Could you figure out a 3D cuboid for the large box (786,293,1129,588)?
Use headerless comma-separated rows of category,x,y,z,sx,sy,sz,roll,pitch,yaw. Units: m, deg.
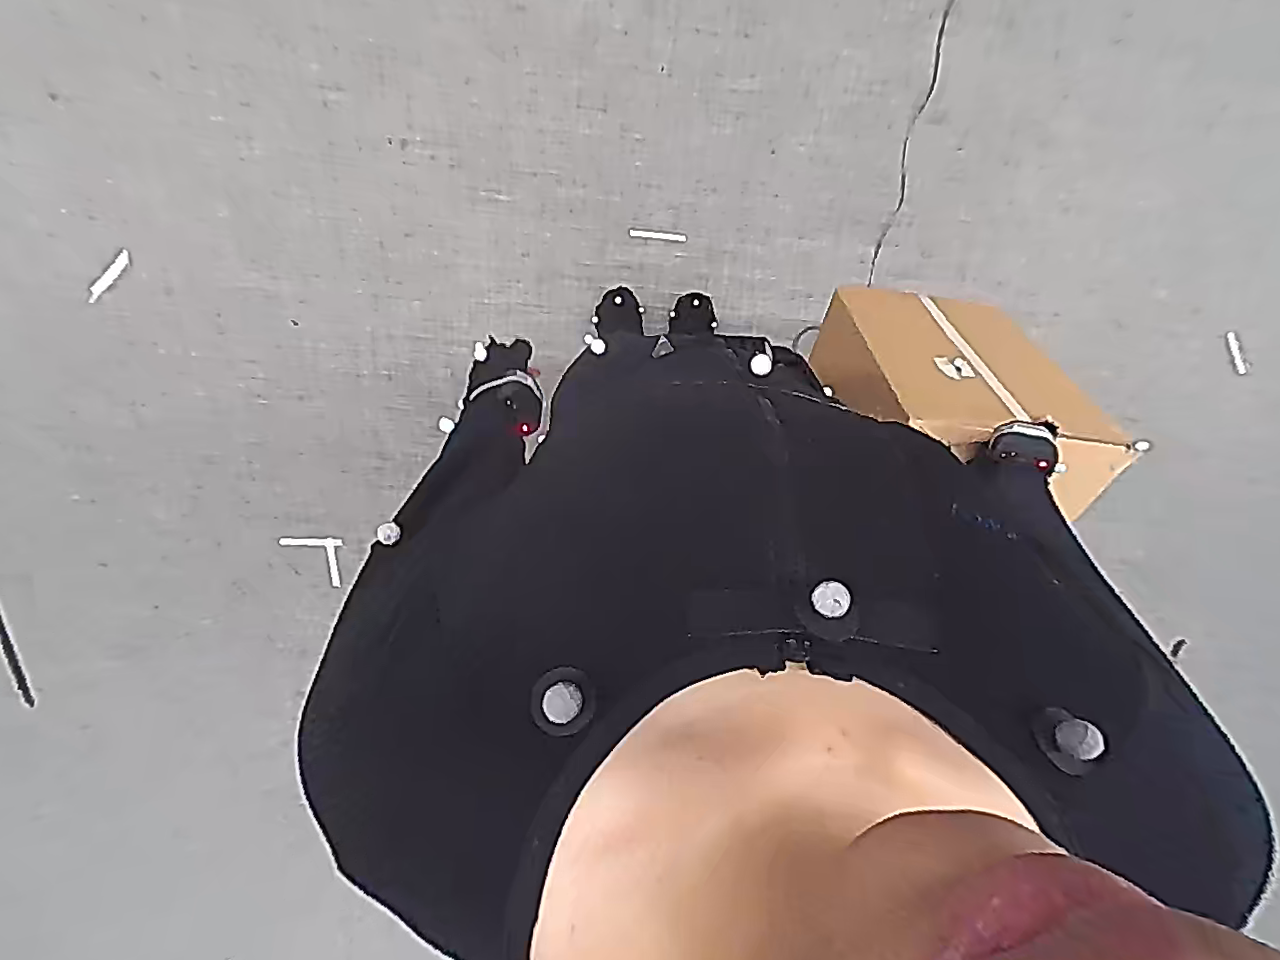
large box,0.482,-0.077,0.947,0.320,0.408,0.320,7,134,-4
